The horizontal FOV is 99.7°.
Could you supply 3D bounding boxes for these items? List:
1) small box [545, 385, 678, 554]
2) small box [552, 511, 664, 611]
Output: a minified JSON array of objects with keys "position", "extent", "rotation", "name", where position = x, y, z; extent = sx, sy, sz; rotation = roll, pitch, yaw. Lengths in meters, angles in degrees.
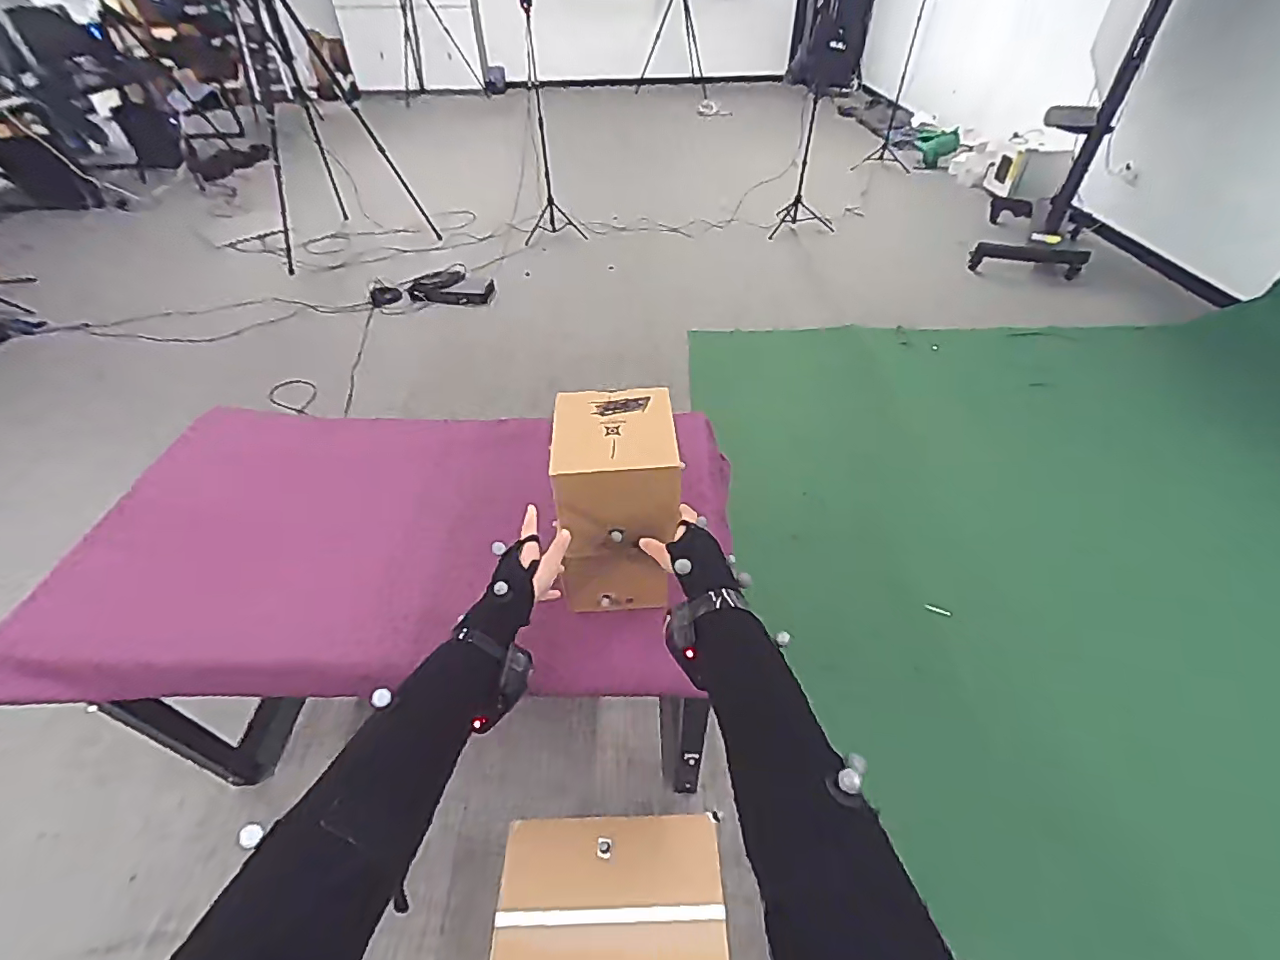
[{"position":[-0.036,-0.016,0.777],"extent":[0.168,0.176,0.179],"rotation":[-4,44,0],"name":"small box"},{"position":[-0.048,0.095,0.900],"extent":[0.168,0.176,0.179],"rotation":[-4,44,0],"name":"small box"}]
